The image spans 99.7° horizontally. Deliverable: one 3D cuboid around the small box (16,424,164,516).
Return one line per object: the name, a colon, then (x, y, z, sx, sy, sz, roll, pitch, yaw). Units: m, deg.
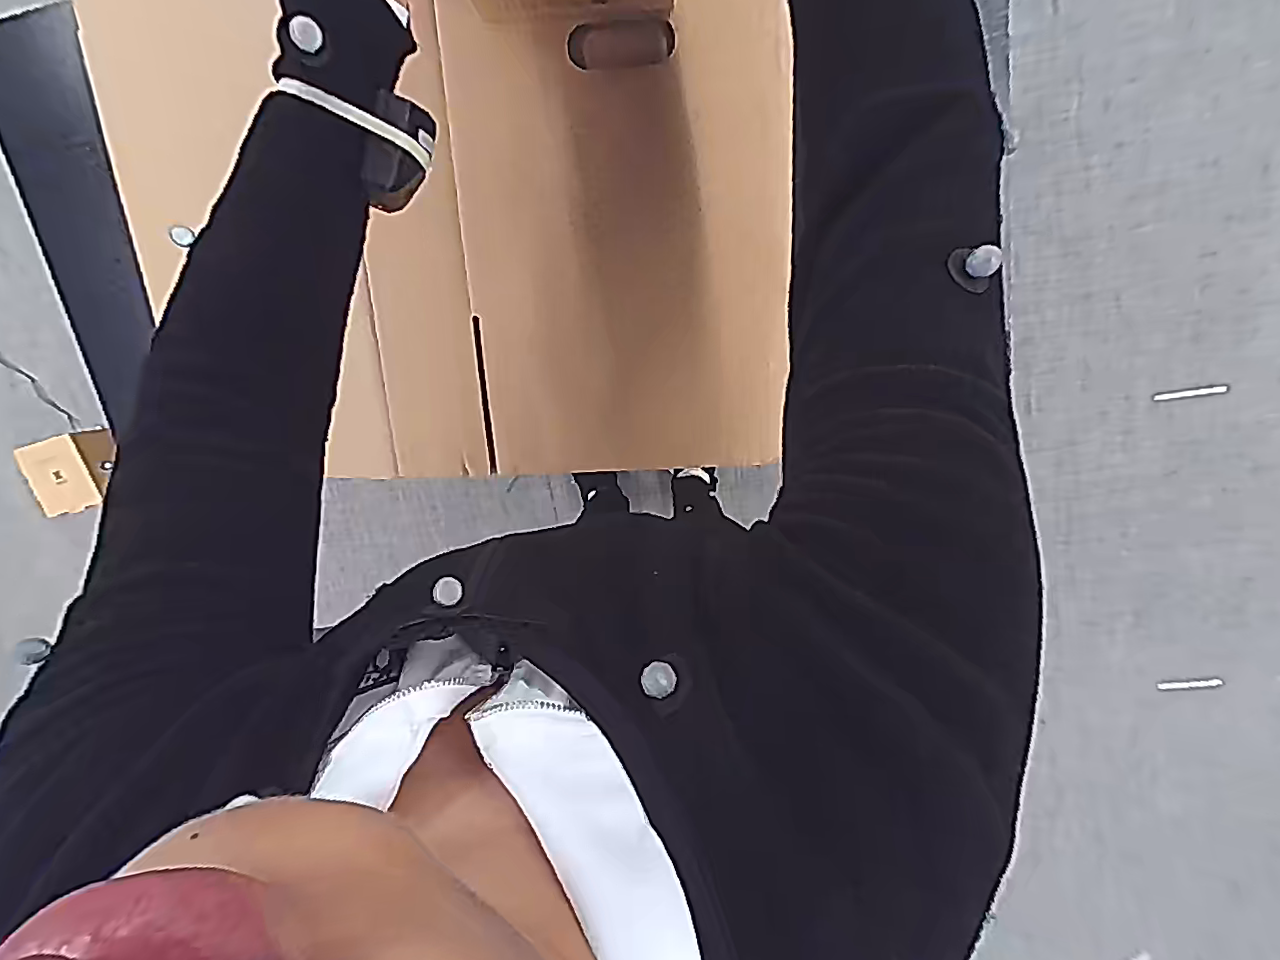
small box: (-1.361, -0.029, 1.354, 0.168, 0.176, 0.179, -15, 101, 8)

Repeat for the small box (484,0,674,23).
small box: (-0.055, -0.450, 0.352, 0.168, 0.176, 0.179, -1, 103, 3)
